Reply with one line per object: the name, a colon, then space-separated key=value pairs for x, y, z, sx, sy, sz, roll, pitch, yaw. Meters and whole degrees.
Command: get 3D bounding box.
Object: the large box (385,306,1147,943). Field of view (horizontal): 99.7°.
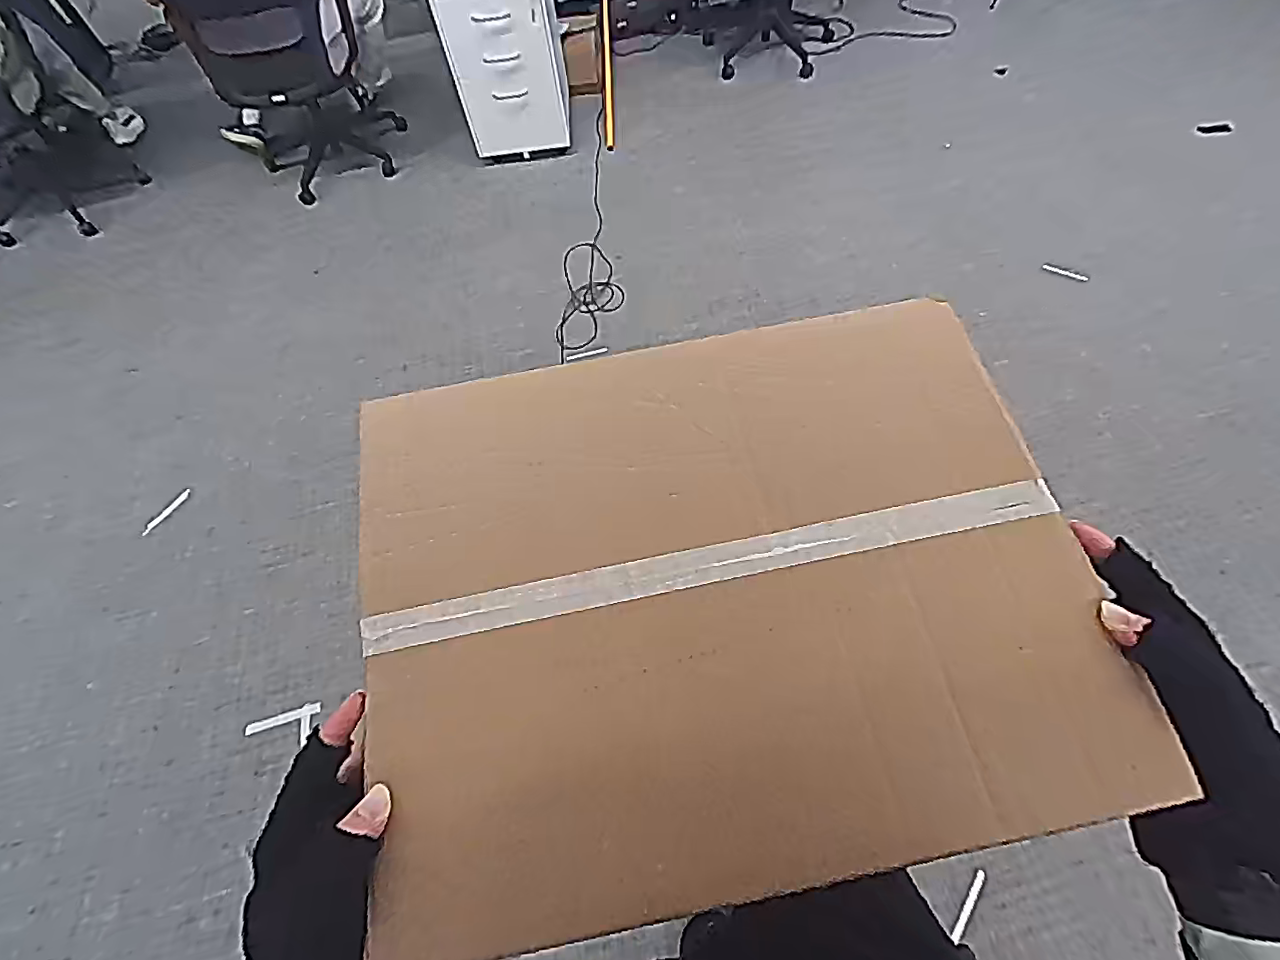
large box: x=0.049 y=0.107 z=0.468 sx=0.408 sy=0.320 sz=0.320 roll=-12 pitch=68 yaw=-2
